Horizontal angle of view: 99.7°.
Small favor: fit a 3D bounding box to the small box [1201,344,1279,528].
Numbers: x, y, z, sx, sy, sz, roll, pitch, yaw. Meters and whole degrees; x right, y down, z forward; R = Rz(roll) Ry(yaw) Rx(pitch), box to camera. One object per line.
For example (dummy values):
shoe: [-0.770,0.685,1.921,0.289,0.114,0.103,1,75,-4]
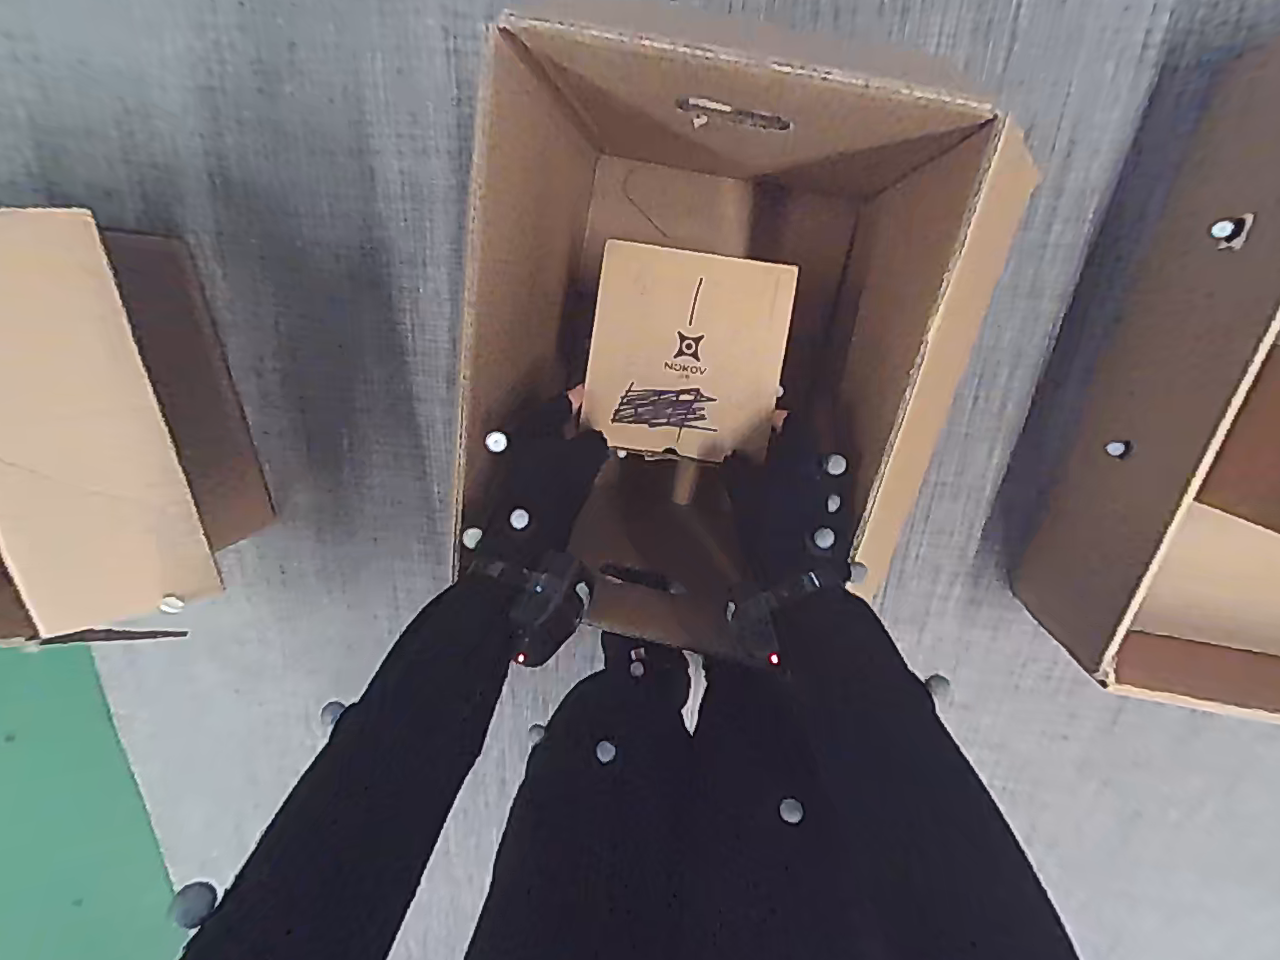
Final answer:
small box: [0.687,-0.026,0.489,0.168,0.176,0.179,9,108,5]
